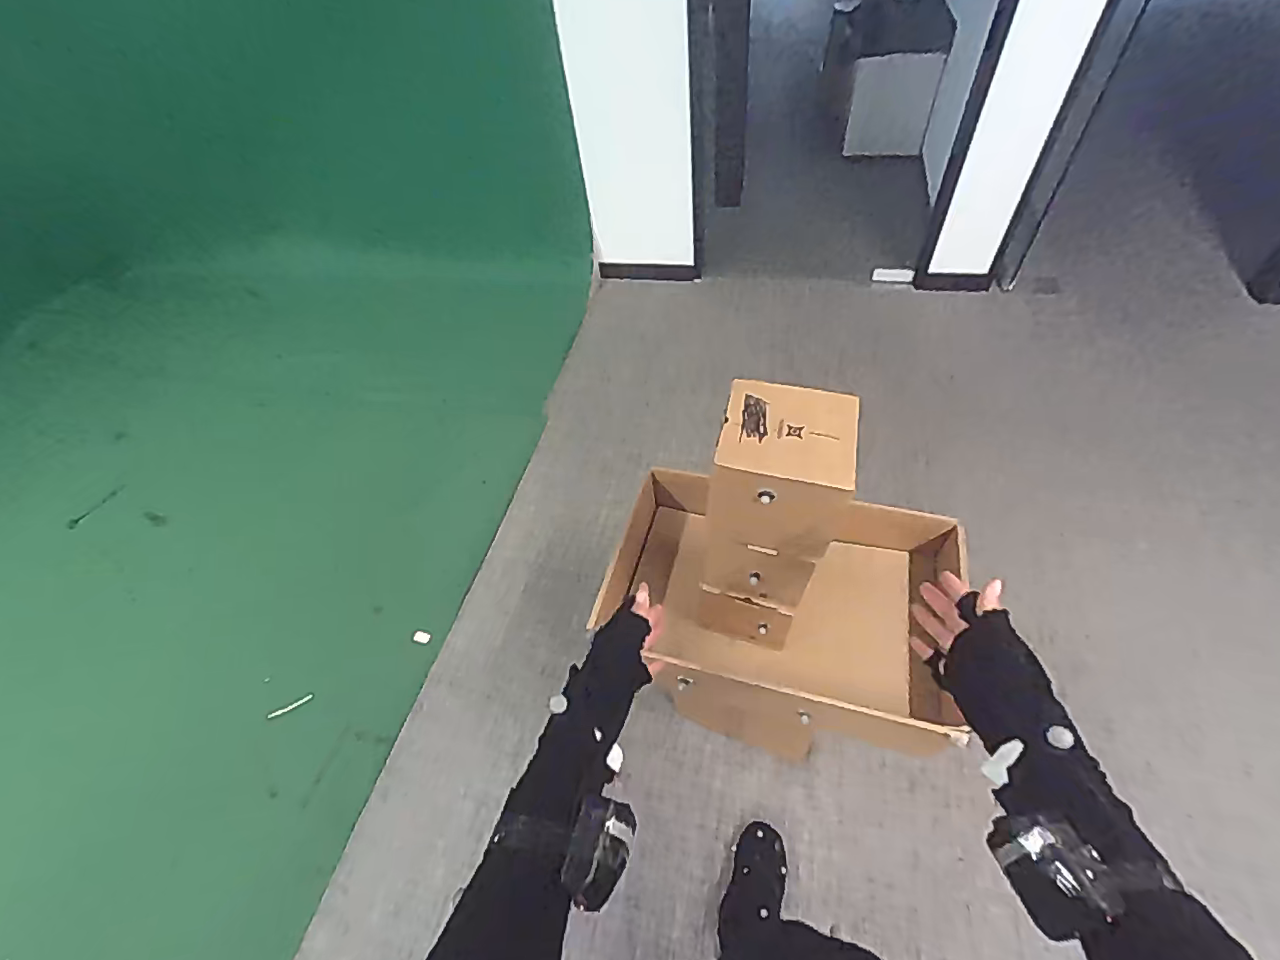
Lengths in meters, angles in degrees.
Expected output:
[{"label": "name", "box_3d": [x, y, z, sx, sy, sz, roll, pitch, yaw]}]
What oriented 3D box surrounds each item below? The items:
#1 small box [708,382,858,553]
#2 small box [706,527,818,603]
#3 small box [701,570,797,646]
[{"label": "small box", "box_3d": [0.199, -0.015, 0.776, 0.179, 0.176, 0.168, 11, 54, 11]}, {"label": "small box", "box_3d": [0.211, 0.084, 0.908, 0.168, 0.176, 0.179, 13, 56, 13]}, {"label": "small box", "box_3d": [0.216, 0.192, 1.032, 0.168, 0.176, 0.179, 14, 53, 13]}]
